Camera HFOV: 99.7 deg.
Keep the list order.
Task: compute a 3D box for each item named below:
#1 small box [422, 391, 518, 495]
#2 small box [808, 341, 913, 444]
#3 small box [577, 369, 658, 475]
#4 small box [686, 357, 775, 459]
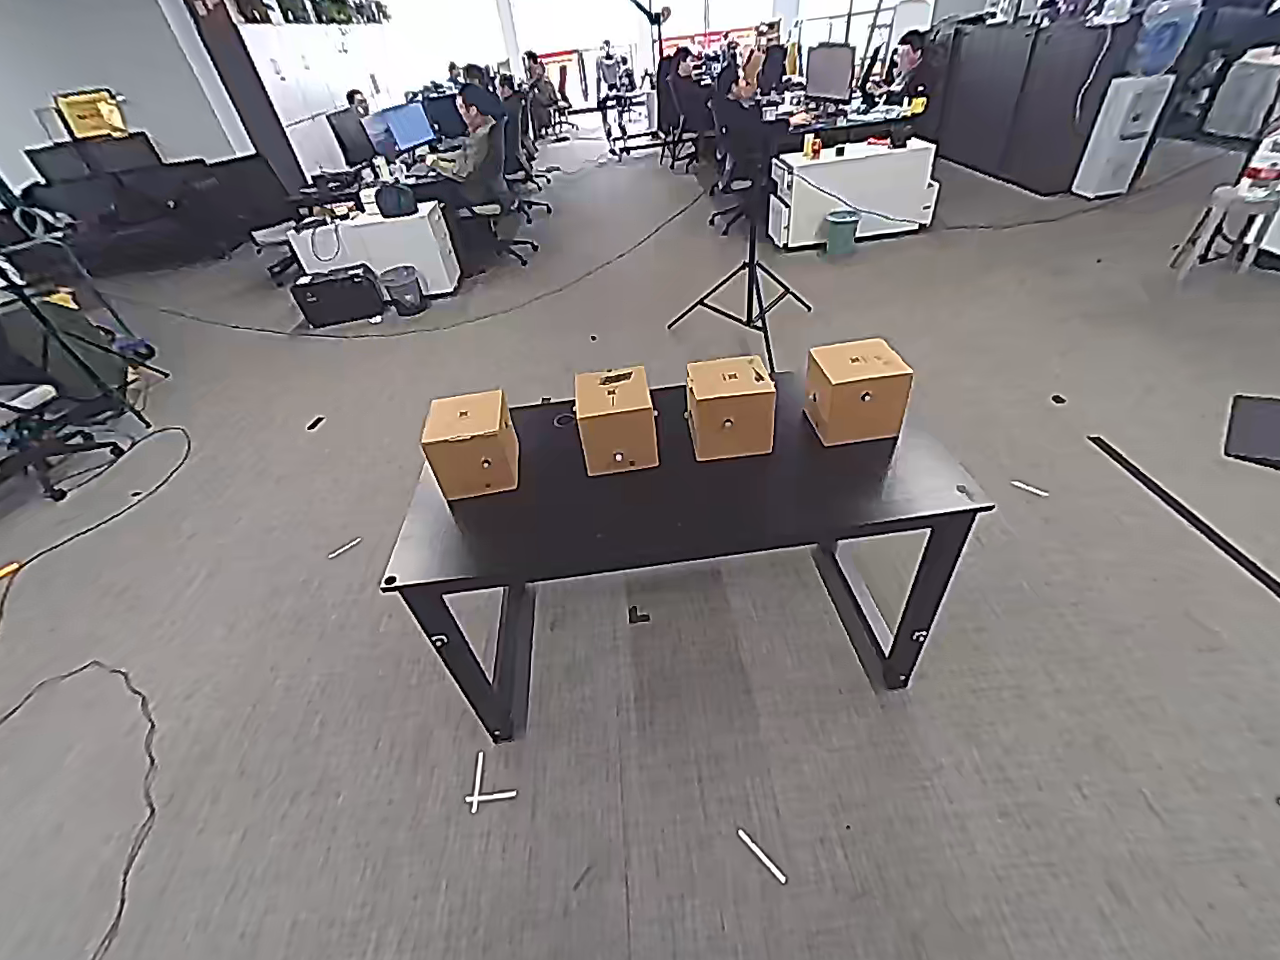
[{"bbox_3d":[-0.380,-0.080,1.242,0.168,0.176,0.179,-9,40,-4],"label":"small box"},{"bbox_3d":[0.492,-0.197,1.240,0.179,0.176,0.168,-8,40,1],"label":"small box"},{"bbox_3d":[-0.052,-0.134,1.253,0.168,0.176,0.179,-8,41,-1],"label":"small box"},{"bbox_3d":[0.206,-0.163,1.247,0.179,0.176,0.168,-7,40,2],"label":"small box"}]
